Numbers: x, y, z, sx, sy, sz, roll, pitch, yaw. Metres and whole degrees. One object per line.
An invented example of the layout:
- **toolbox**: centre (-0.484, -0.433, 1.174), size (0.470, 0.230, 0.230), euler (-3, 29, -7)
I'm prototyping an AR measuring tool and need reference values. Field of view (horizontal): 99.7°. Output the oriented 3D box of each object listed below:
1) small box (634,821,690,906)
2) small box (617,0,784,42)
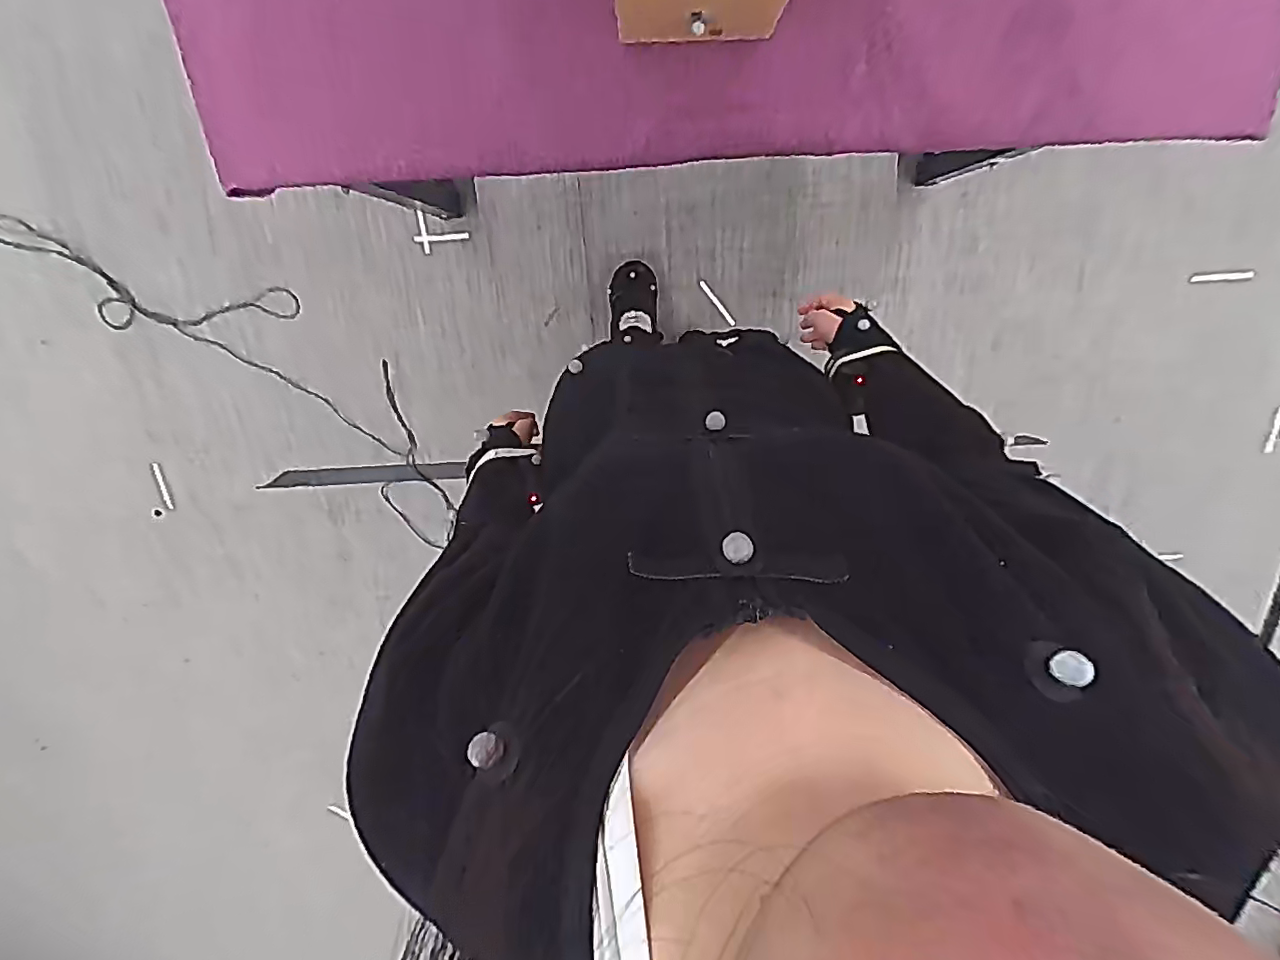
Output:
- **small box**: centre (0.078, 1.351, 1.910), size (0.168, 0.176, 0.179), euler (-13, 109, 3)
- **small box**: centre (0.057, -0.537, 0.487), size (0.168, 0.176, 0.179), euler (-1, 109, 1)
